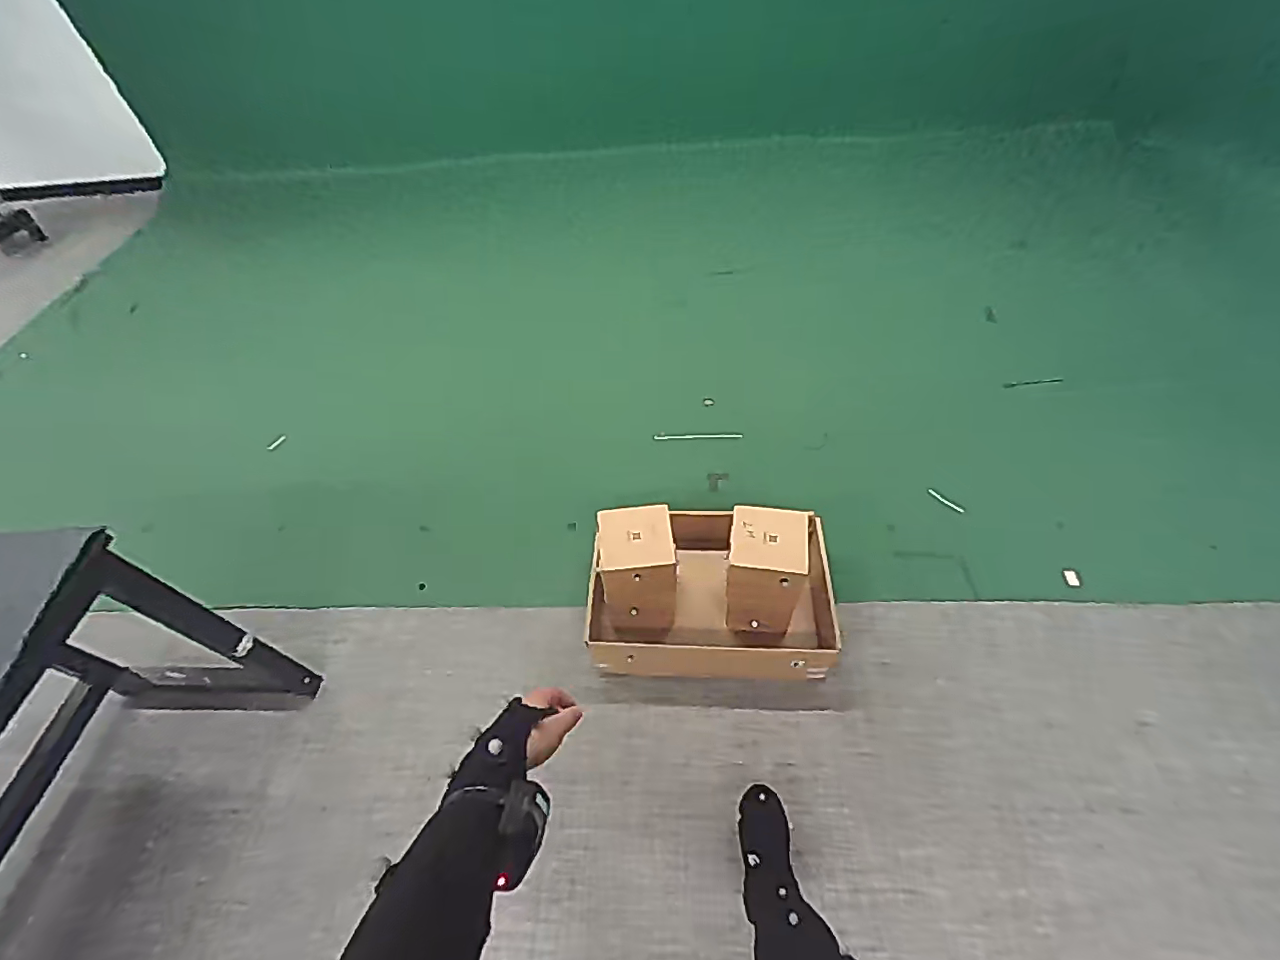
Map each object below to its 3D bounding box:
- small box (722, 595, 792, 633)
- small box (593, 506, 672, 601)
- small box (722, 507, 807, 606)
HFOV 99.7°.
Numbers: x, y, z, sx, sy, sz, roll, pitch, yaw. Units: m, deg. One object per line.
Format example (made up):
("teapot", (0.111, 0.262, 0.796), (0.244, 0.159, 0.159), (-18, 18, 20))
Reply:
("small box", (0.307, 0.284, 1.431), (0.168, 0.176, 0.179), (5, 55, 10))
("small box", (-0.016, 0.184, 1.323), (0.179, 0.176, 0.168), (-5, 54, -2))
("small box", (0.296, 0.188, 1.298), (0.179, 0.176, 0.168), (6, 53, 10))
